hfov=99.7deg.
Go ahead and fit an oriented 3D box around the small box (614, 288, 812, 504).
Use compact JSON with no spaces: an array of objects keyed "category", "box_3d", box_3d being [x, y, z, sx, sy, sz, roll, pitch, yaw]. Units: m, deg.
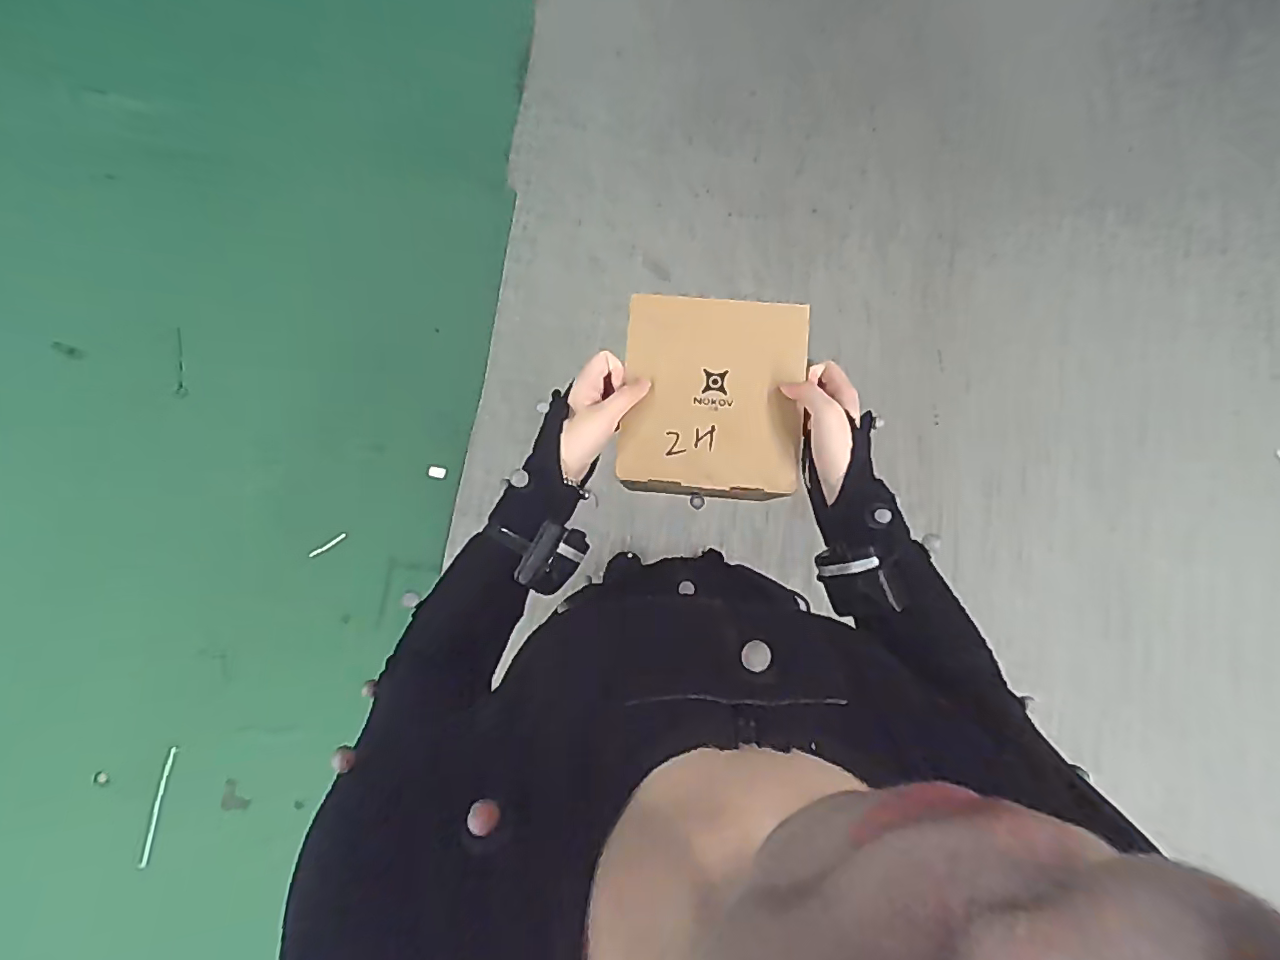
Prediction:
[{"category":"small box","box_3d":[0.069,-0.073,0.557,0.168,0.176,0.179,5,84,4]}]
